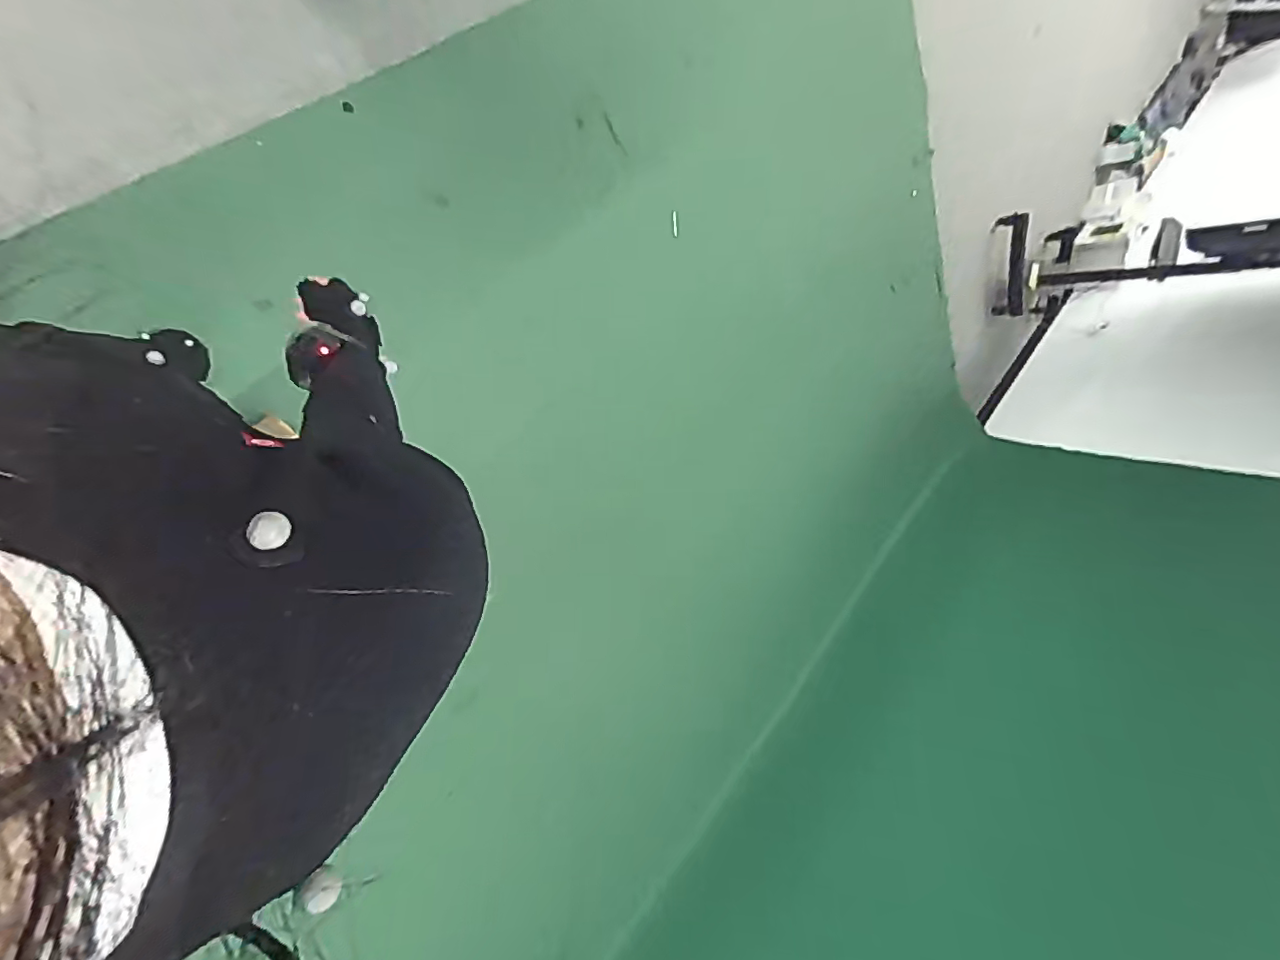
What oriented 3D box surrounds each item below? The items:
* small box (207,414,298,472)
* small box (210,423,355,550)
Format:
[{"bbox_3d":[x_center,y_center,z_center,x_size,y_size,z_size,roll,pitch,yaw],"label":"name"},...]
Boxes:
[{"bbox_3d":[-0.820,-0.033,1.204,0.168,0.176,0.179,-46,126,-20],"label":"small box"},{"bbox_3d":[-0.719,0.005,1.082,0.179,0.176,0.168,-47,128,-20],"label":"small box"}]
